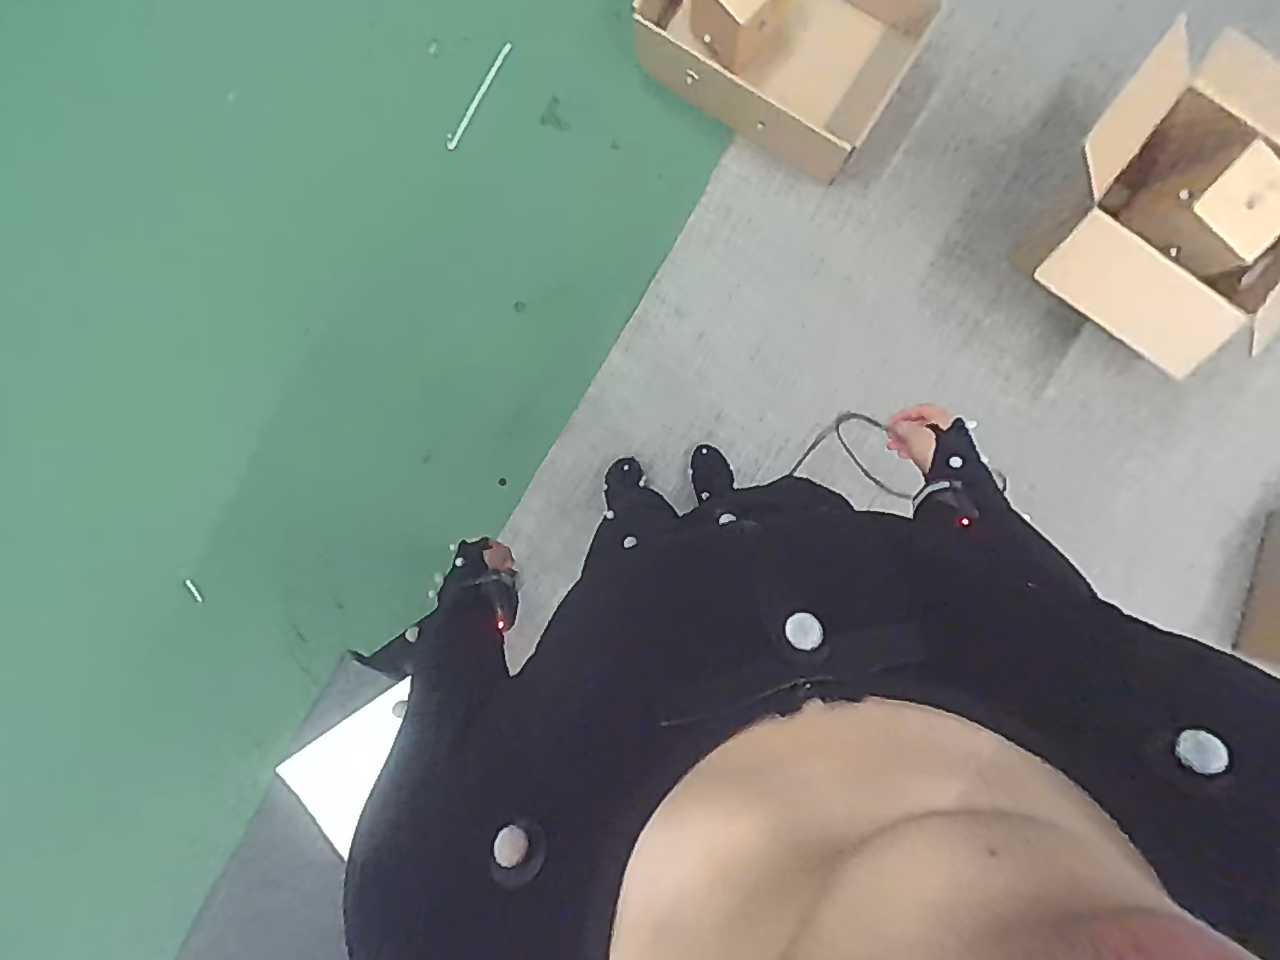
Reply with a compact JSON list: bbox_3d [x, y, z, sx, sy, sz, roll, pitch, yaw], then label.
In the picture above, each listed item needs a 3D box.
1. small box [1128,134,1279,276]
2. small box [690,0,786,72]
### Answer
[{"bbox_3d":[1.196,-0.564,1.138,0.168,0.176,0.179,41,94,-3],"label":"small box"},{"bbox_3d":[0.235,-1.143,1.286,0.179,0.176,0.168,-43,91,3],"label":"small box"}]
